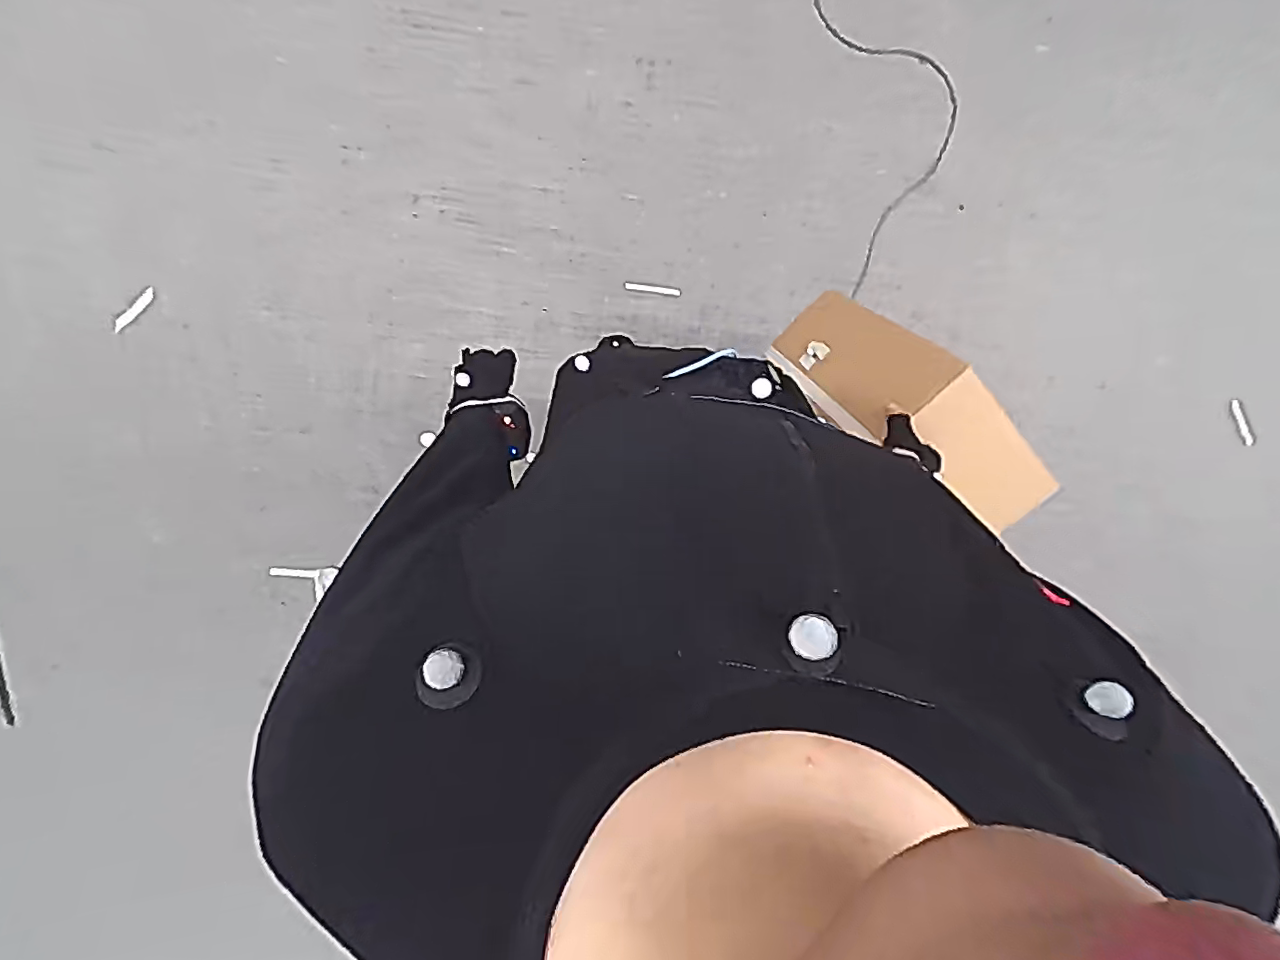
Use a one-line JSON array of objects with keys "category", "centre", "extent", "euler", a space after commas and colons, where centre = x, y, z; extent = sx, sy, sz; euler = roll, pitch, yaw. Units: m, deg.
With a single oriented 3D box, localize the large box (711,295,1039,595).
[{"category": "large box", "centre": [0.387, -0.075, 0.981], "extent": [0.320, 0.408, 0.320], "euler": [35, 111, -27]}]
